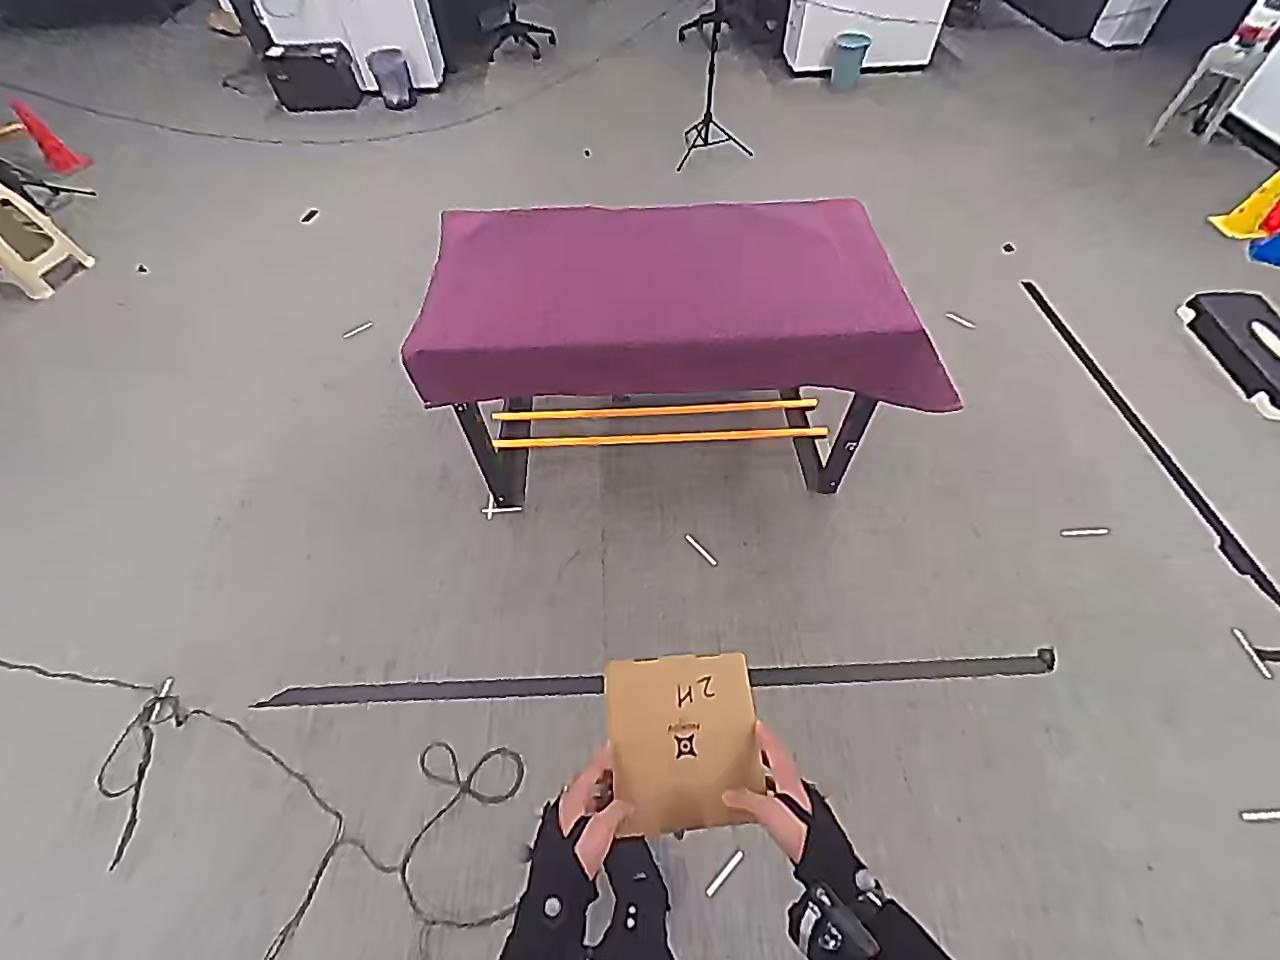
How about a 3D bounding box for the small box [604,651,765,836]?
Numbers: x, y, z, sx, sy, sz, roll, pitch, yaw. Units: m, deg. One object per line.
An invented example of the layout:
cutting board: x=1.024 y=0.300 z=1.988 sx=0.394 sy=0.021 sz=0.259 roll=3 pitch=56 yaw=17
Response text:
small box: x=0.040 y=0.318 z=0.664 sx=0.168 sy=0.176 sz=0.179 roll=-2 pitch=62 yaw=-6
